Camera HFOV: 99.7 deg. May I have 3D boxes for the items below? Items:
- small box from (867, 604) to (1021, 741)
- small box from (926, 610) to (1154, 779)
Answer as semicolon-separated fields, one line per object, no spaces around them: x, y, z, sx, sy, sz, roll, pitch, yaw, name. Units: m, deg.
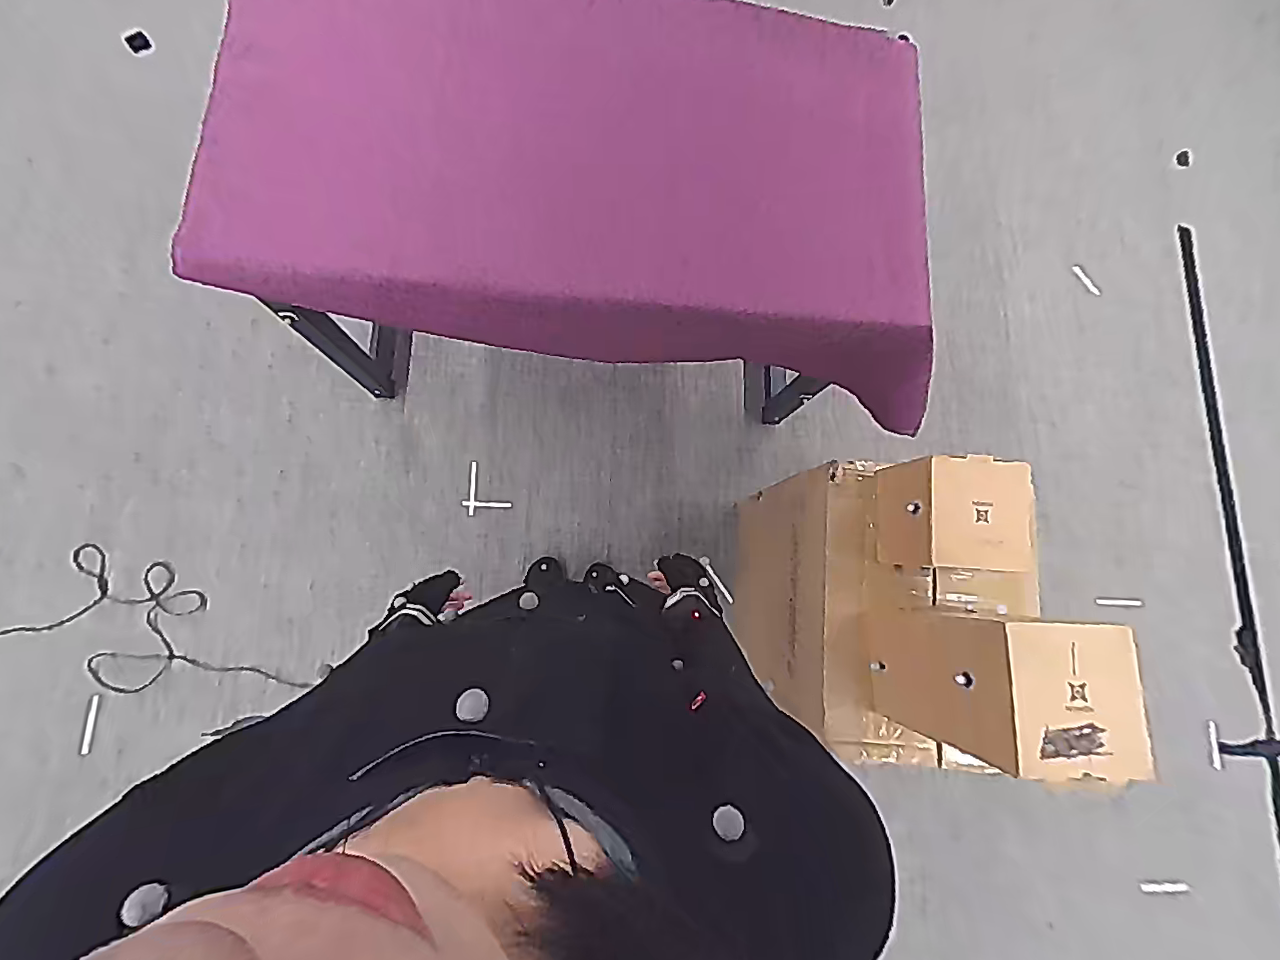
0.488;0.296;0.866;0.168;0.176;0.179;-2;80;-6;small box
0.501;0.266;0.704;0.168;0.176;0.179;3;78;-5;small box
